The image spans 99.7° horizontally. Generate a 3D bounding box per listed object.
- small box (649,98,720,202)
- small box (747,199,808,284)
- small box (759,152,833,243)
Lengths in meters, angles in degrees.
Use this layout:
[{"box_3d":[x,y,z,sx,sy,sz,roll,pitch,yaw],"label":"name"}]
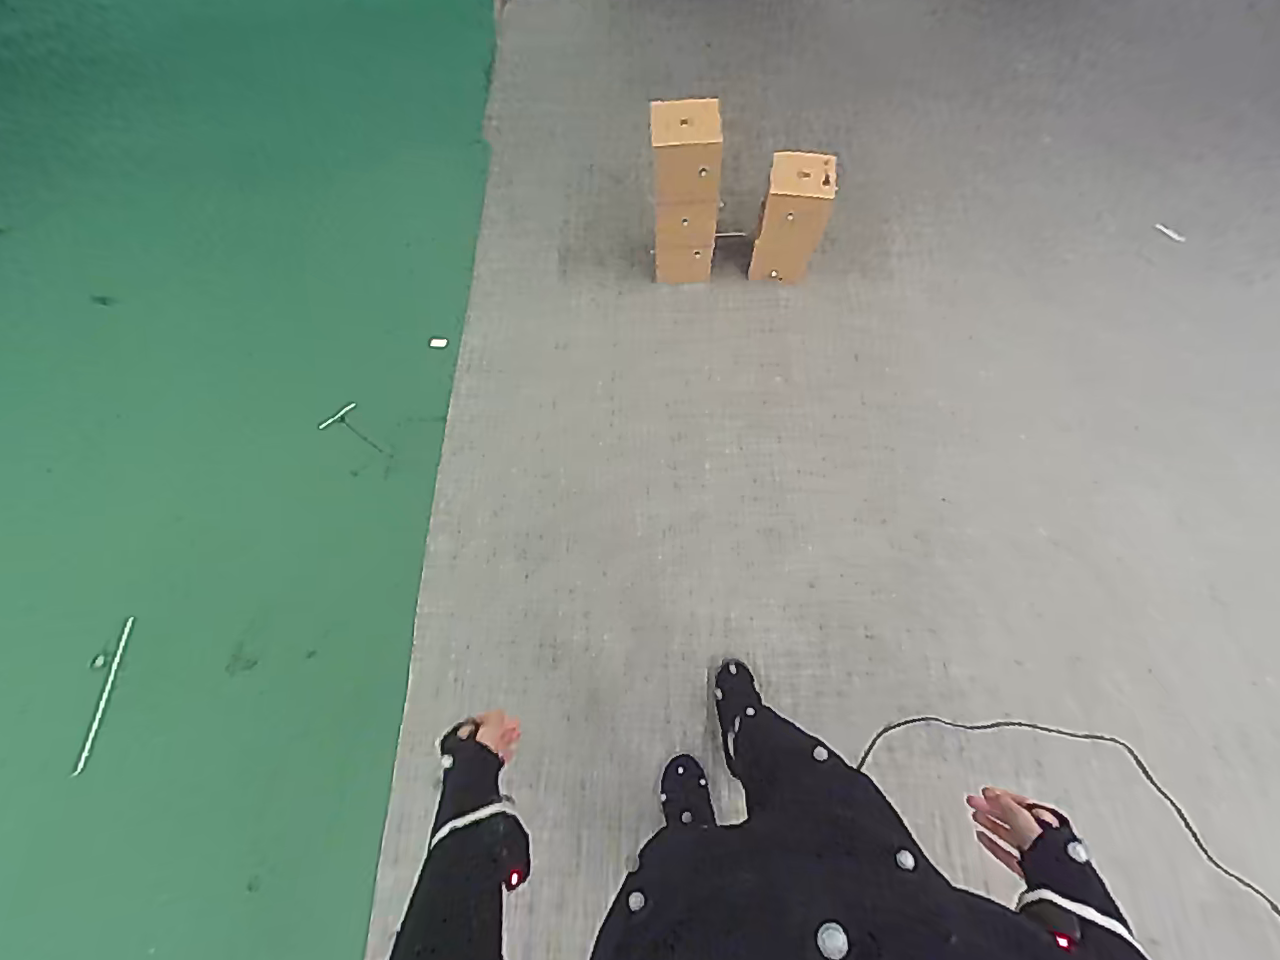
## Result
[{"box_3d":[0.113,-0.863,1.424,0.179,0.176,0.168,-2,68,3],"label":"small box"},{"box_3d":[0.438,-0.757,1.719,0.168,0.176,0.179,8,70,7],"label":"small box"},{"box_3d":[0.445,-0.812,1.563,0.179,0.176,0.168,8,70,7],"label":"small box"}]
